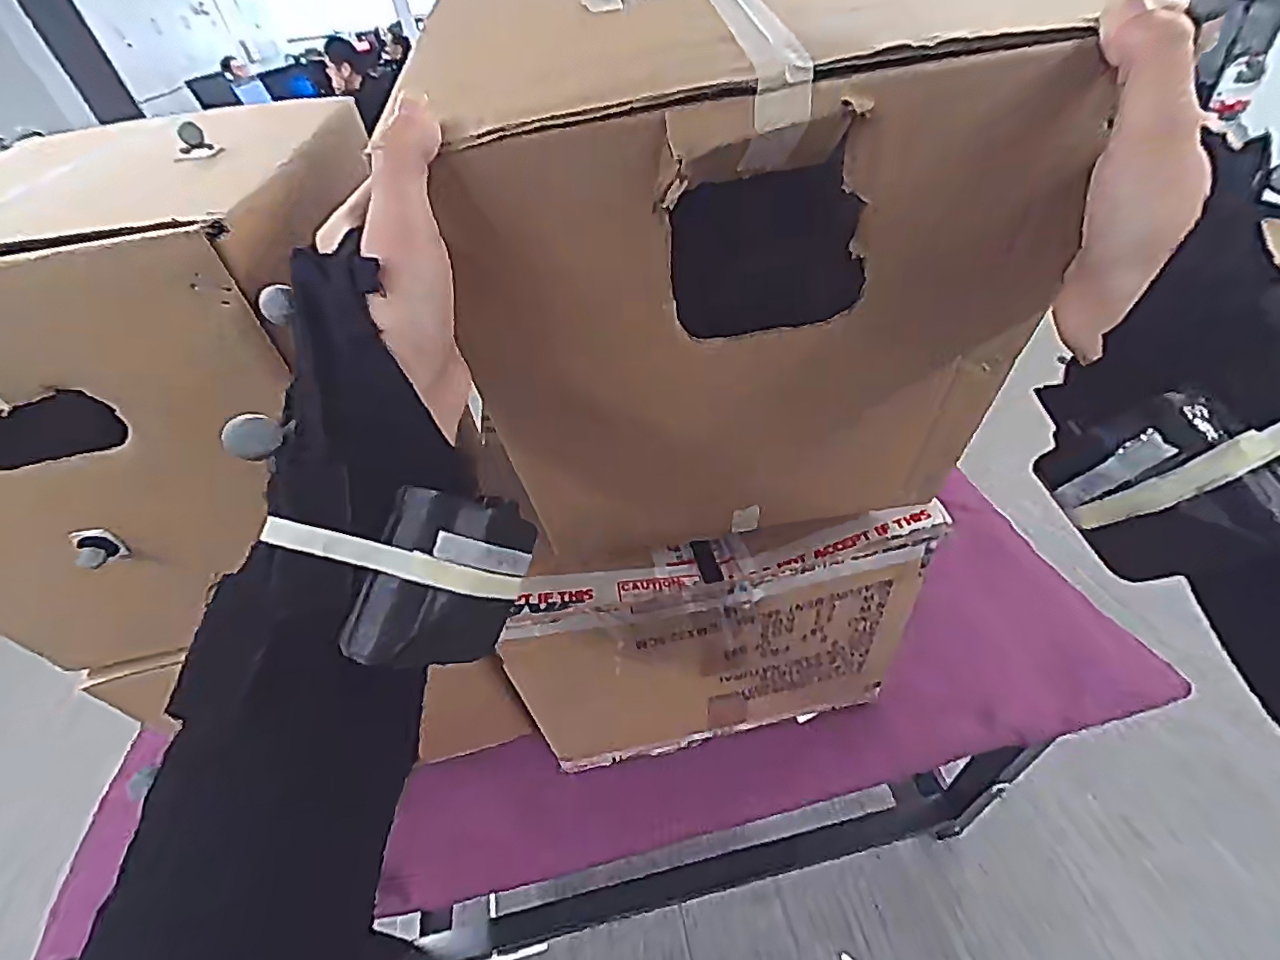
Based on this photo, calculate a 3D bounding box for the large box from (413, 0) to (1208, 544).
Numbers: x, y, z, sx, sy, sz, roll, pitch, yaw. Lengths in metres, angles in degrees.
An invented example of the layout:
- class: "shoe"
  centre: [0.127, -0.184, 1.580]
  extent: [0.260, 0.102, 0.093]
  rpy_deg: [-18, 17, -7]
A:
- class: "large box"
  centre: [0.053, -0.211, 0.438]
  extent: [0.320, 0.320, 0.408]
  rpy_deg: [-10, 54, 2]
